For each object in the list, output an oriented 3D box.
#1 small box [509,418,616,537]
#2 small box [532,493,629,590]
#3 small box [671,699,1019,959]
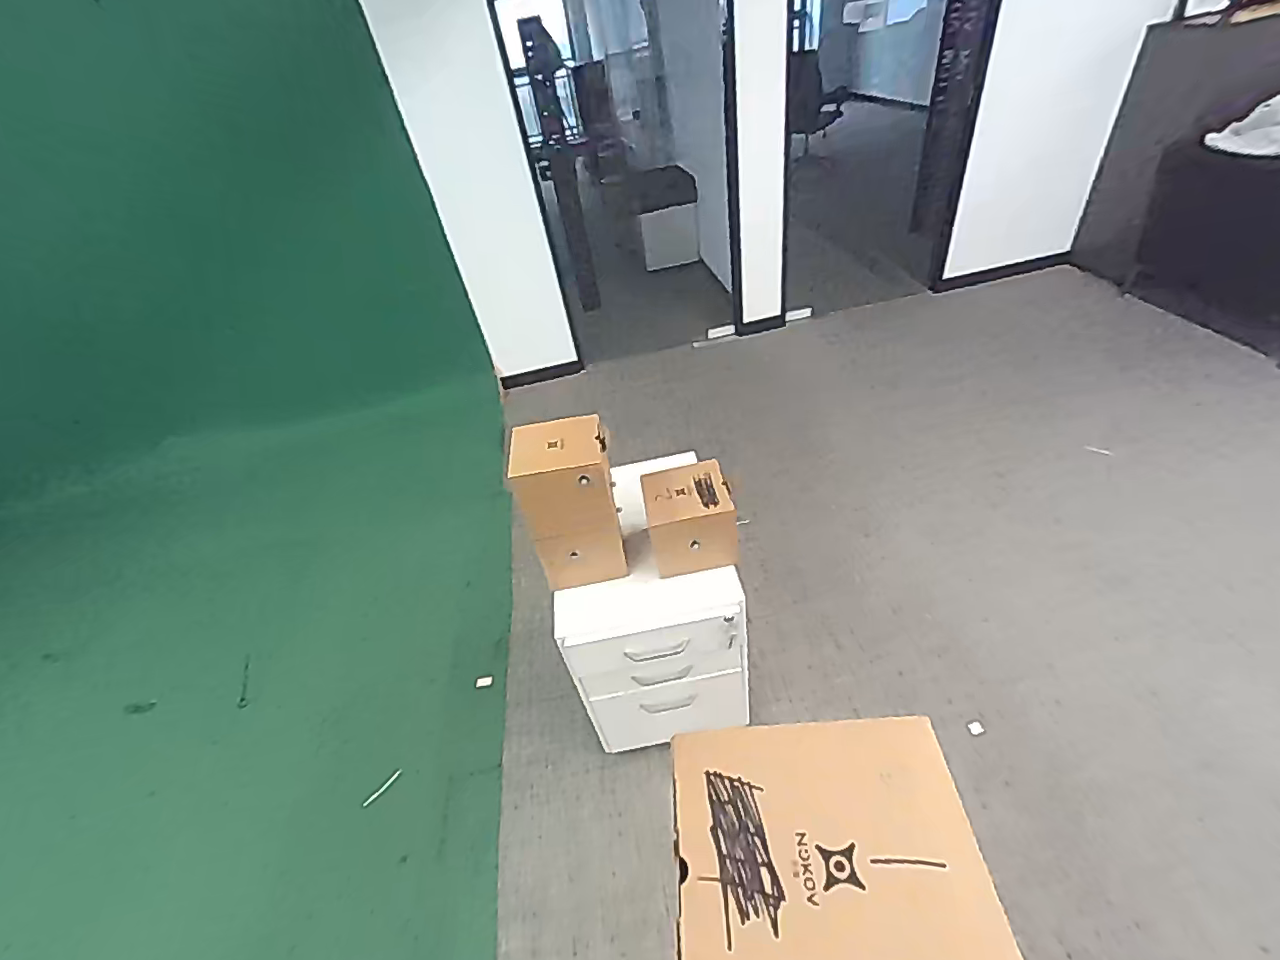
[{"bbox_3d":[-0.150,-0.002,1.087,0.179,0.176,0.168,-8,39,-1],"label":"small box"},{"bbox_3d":[-0.130,0.121,1.194,0.179,0.176,0.168,-11,40,-2],"label":"small box"},{"bbox_3d":[0.120,0.274,0.373,0.179,0.176,0.168,-7,40,8],"label":"small box"}]
